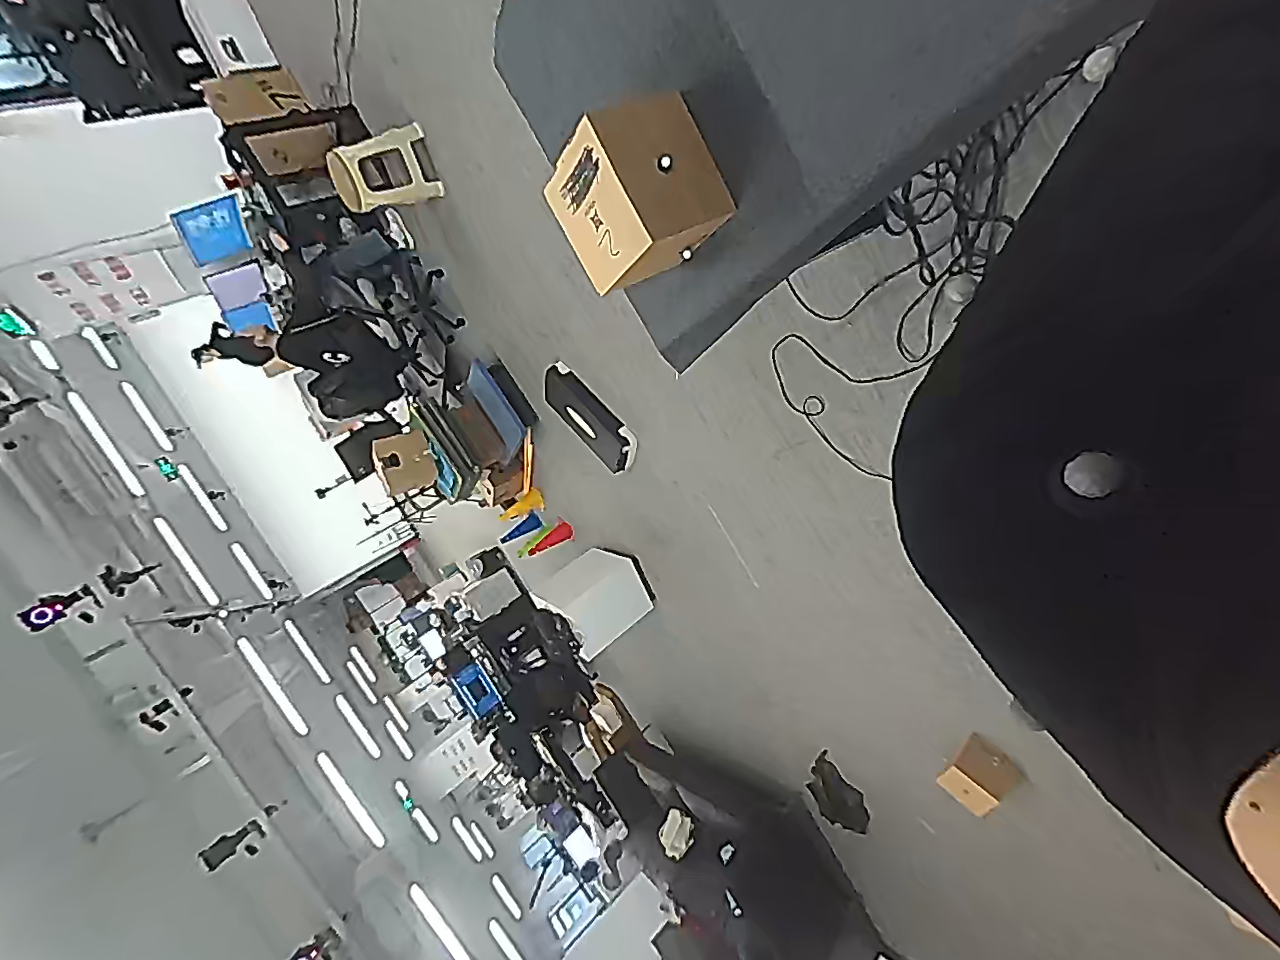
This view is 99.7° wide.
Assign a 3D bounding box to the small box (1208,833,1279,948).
[{"bbox_3d":[1.564,1.017,1.326,0.168,0.176,0.179,58,153,-3],"label":"small box"}]

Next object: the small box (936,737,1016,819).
[{"bbox_3d":[1.213,1.070,1.948,0.168,0.176,0.179,36,145,32],"label":"small box"}]
